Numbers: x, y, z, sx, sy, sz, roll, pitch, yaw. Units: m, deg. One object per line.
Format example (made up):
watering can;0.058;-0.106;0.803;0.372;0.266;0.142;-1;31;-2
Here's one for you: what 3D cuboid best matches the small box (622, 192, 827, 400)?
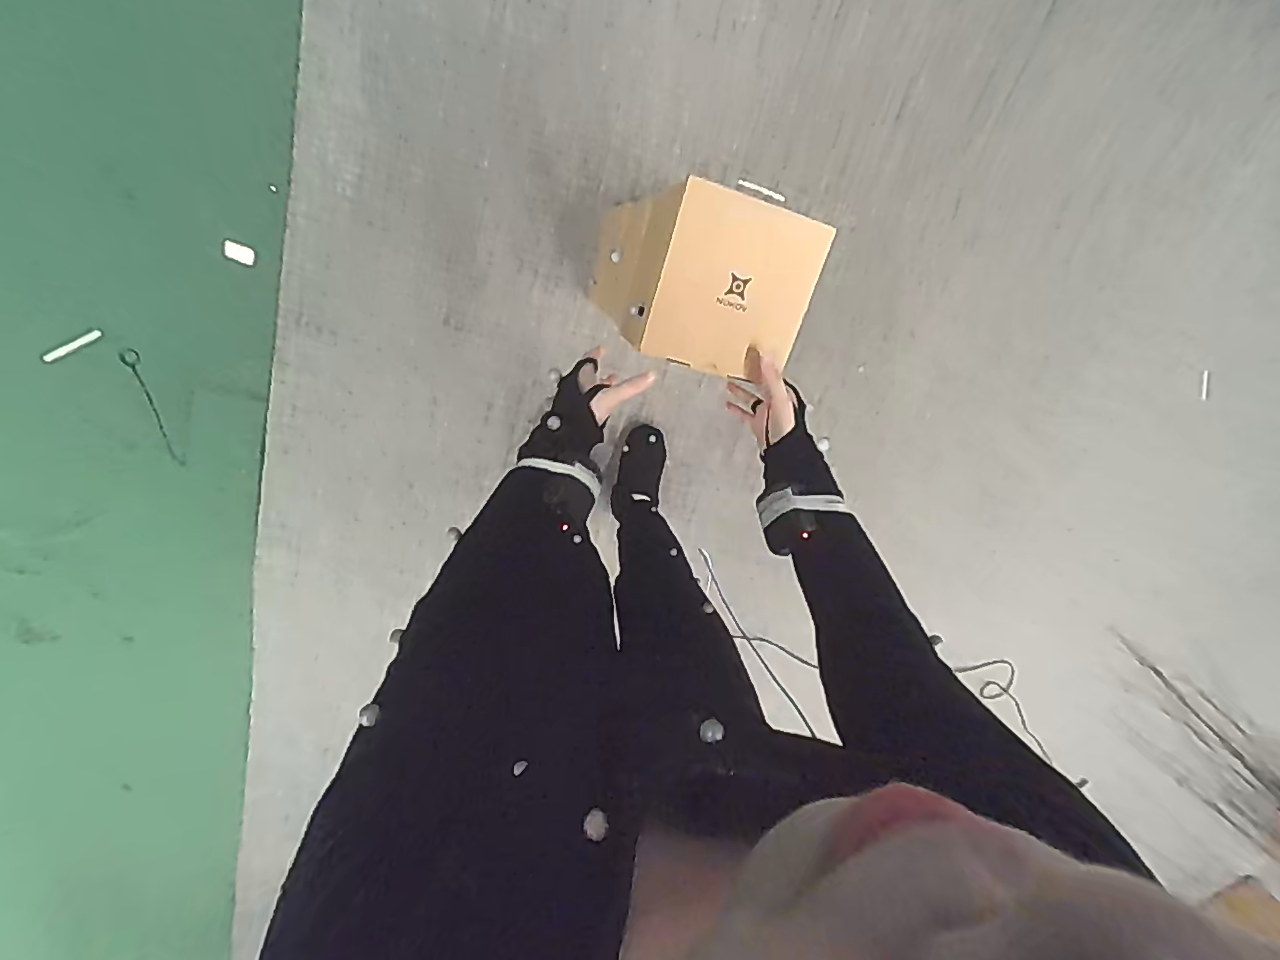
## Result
small box;0.083;-0.215;0.644;0.168;0.176;0.179;12;110;-14
